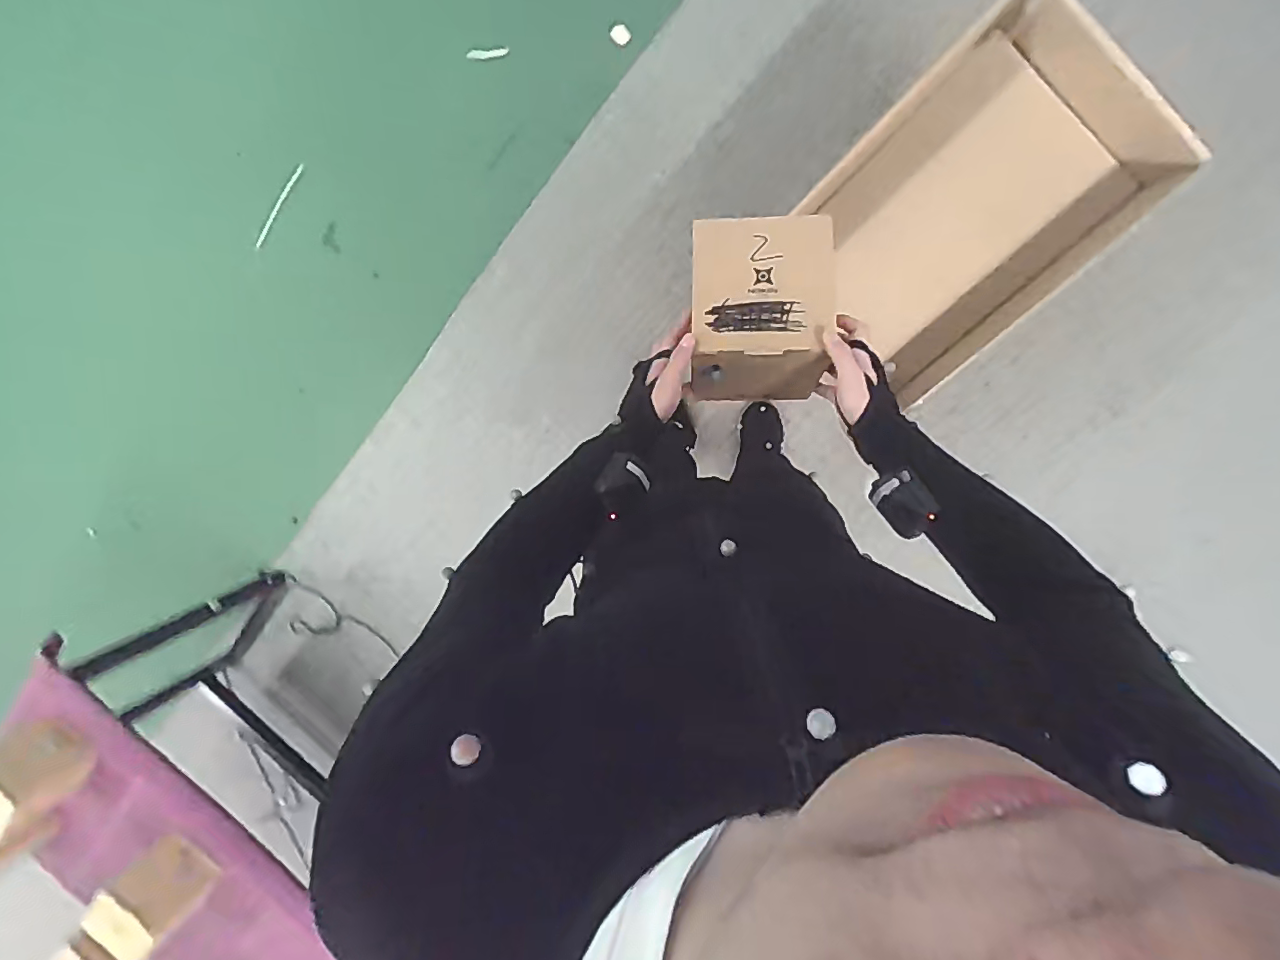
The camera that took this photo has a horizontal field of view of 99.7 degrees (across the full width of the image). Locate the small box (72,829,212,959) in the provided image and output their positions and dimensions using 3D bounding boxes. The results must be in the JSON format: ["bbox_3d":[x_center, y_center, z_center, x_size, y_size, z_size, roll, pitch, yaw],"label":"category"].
[{"bbox_3d":[-1.190,1.000,1.304,0.168,0.176,0.179,41,108,0],"label":"small box"}]

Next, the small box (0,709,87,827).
[{"bbox_3d":[-1.493,0.693,1.290,0.168,0.176,0.179,43,108,-2],"label":"small box"}]

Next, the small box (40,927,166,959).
[{"bbox_3d":[-1.387,1.204,1.394,0.179,0.176,0.168,-43,91,18],"label":"small box"}]

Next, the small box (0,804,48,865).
[{"bbox_3d":[-1.699,0.913,1.387,0.168,0.176,0.179,45,105,-1],"label":"small box"}]
